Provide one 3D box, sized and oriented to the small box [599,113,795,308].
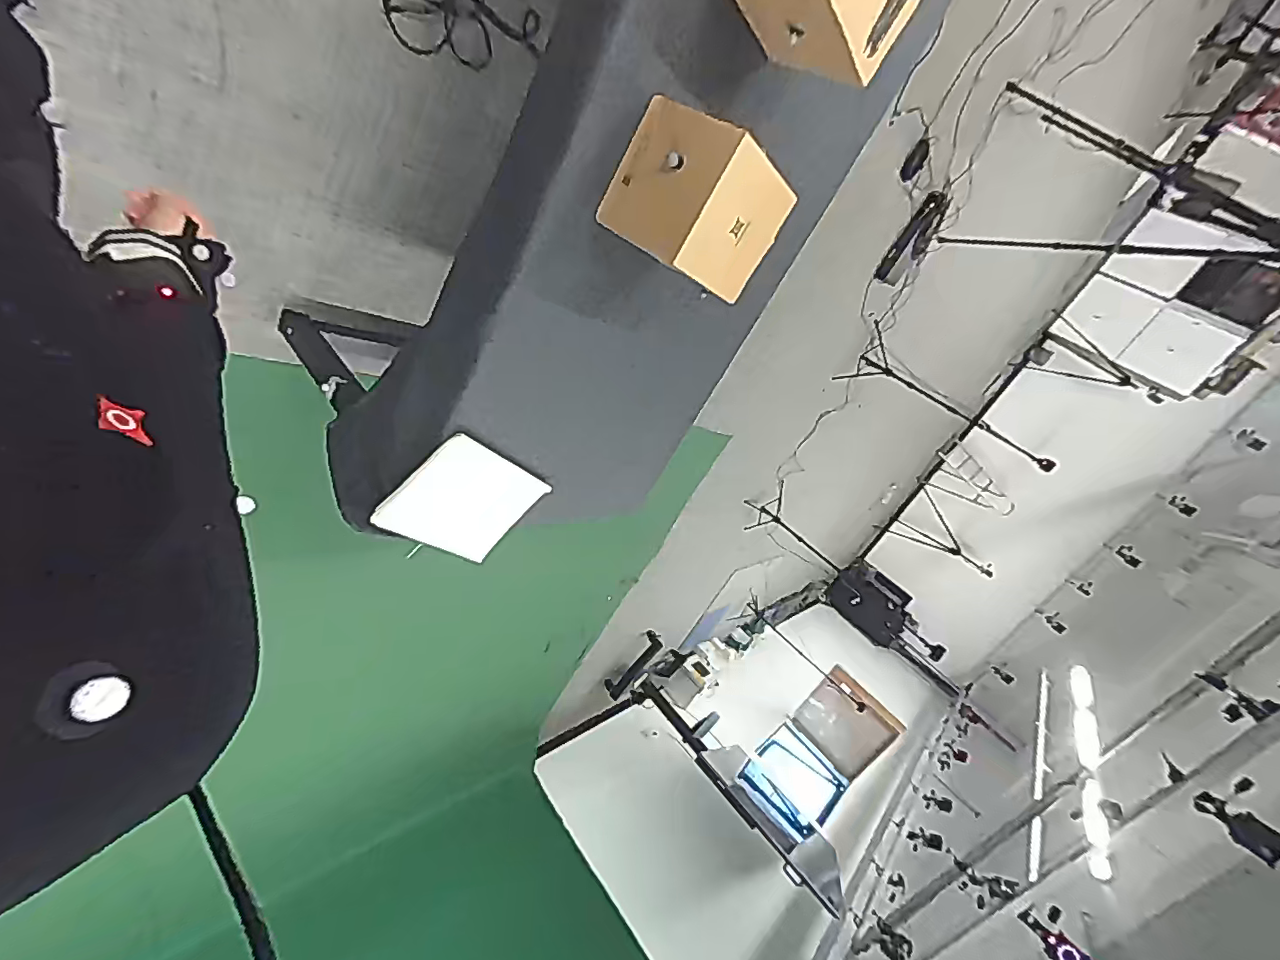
[{"bbox_3d":[0.075,-0.370,0.747,0.179,0.176,0.168,2,125,-55],"label":"small box"}]
